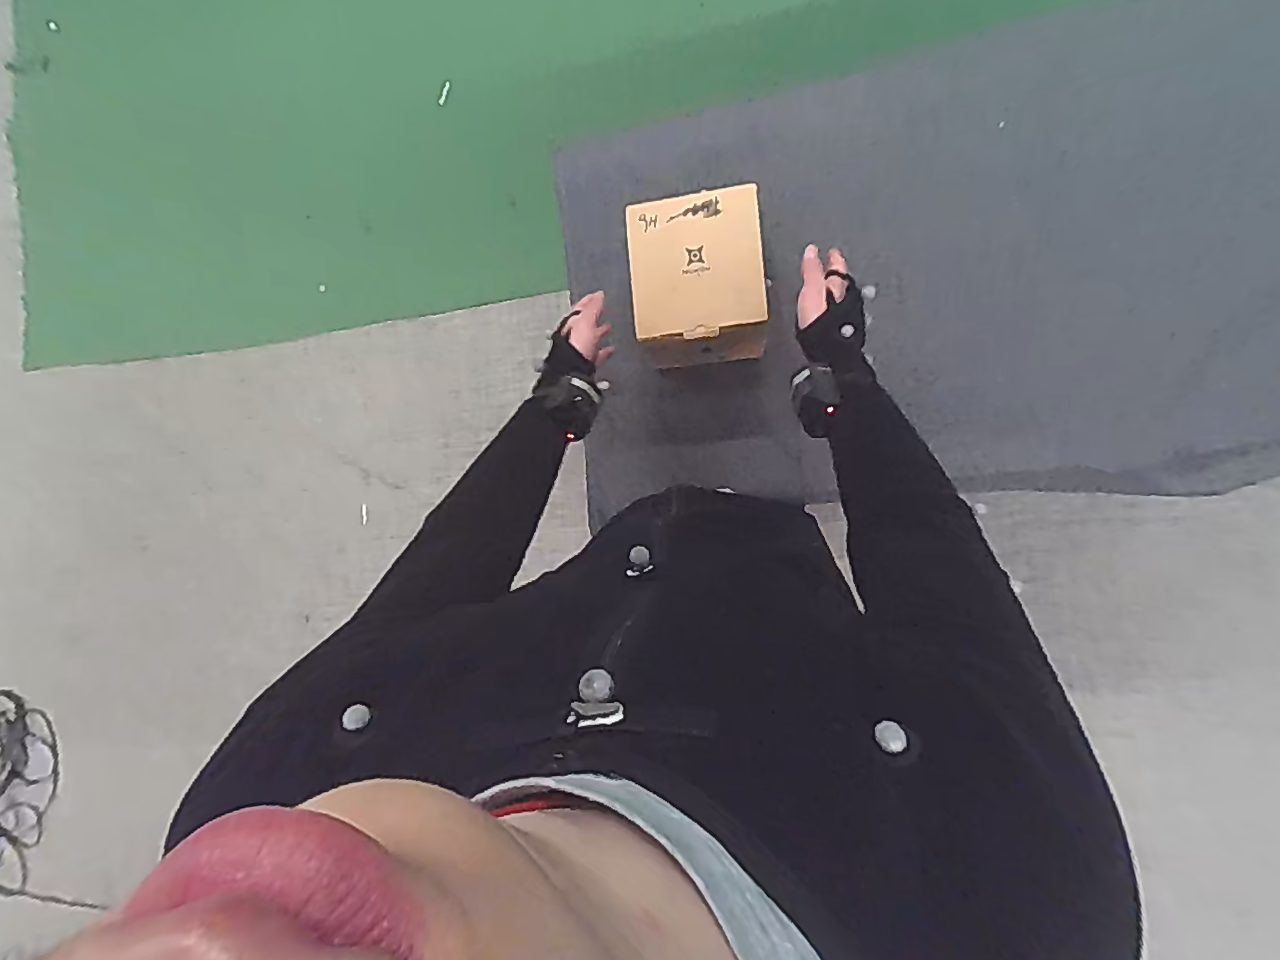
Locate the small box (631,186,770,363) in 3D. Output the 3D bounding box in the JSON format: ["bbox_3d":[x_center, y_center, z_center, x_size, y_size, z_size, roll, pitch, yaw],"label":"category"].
[{"bbox_3d":[0.088,-0.266,0.748,0.168,0.176,0.179,-5,89,10],"label":"small box"}]
